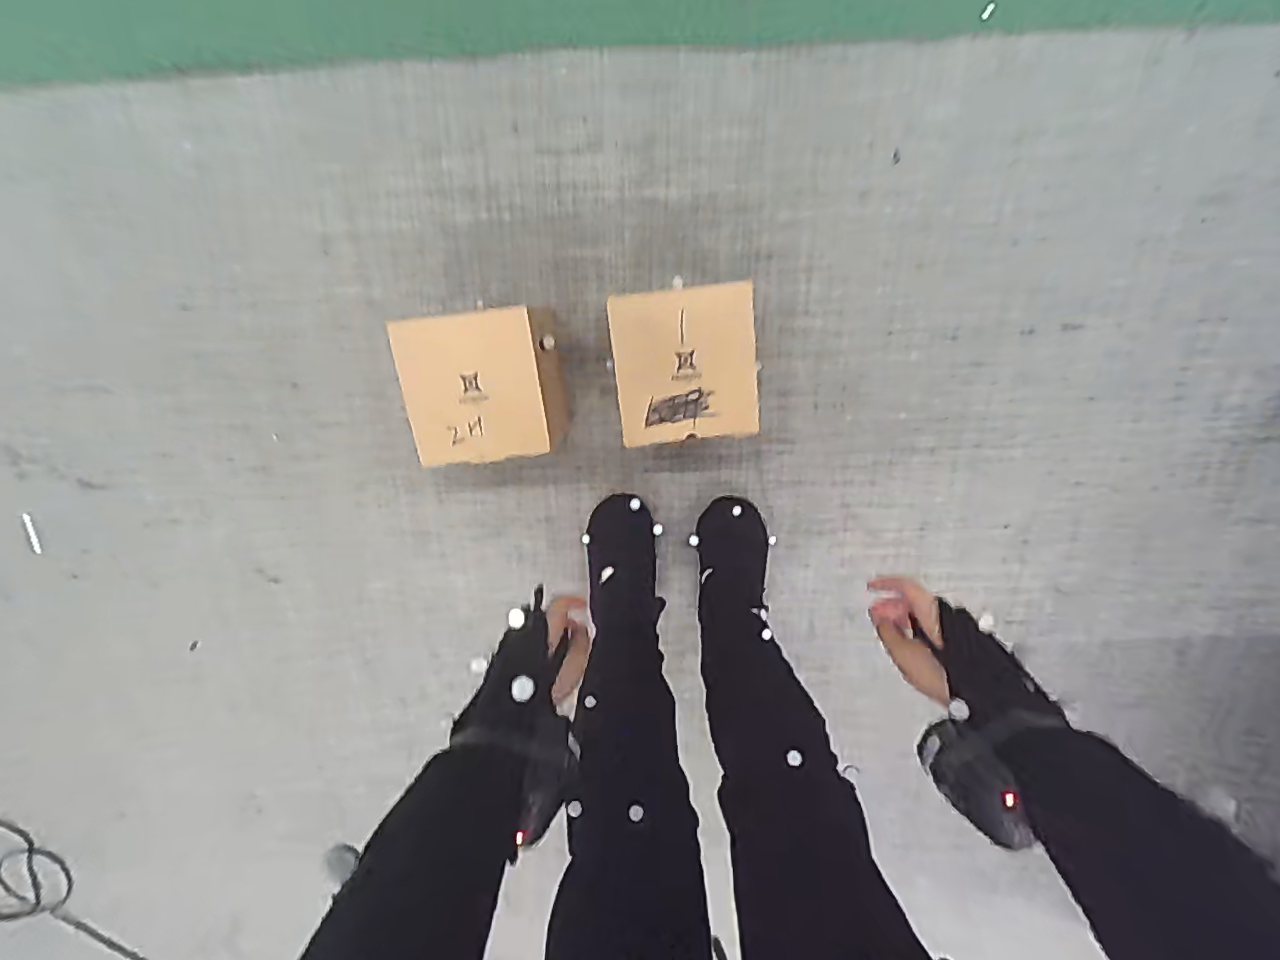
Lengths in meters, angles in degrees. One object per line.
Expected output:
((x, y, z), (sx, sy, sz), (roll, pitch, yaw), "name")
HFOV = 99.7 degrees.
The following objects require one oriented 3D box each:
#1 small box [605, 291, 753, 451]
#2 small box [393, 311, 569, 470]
((0.051, -0.148, 0.711), (0.168, 0.176, 0.179), (-6, 106, 2), "small box")
((-0.196, -0.125, 0.722), (0.168, 0.176, 0.179), (-6, 107, 4), "small box")
